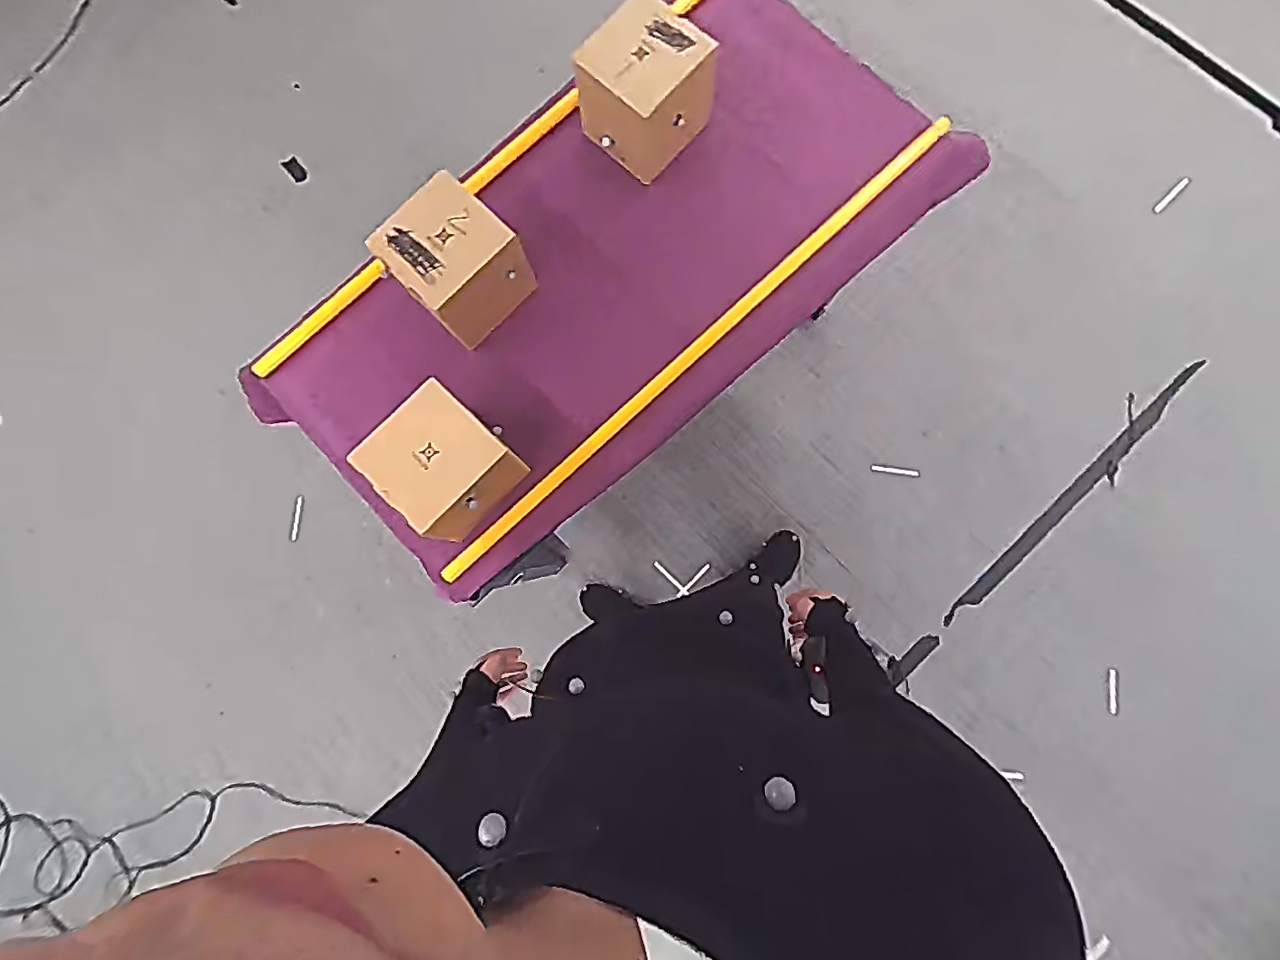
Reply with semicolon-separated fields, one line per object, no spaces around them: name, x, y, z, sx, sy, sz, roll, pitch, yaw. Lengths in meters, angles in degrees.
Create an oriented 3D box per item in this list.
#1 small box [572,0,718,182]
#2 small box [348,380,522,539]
small box;0.008;-0.670;0.931;0.168;0.176;0.179;43;87;6
small box;-0.308;-0.023;0.861;0.168;0.176;0.179;43;85;7
